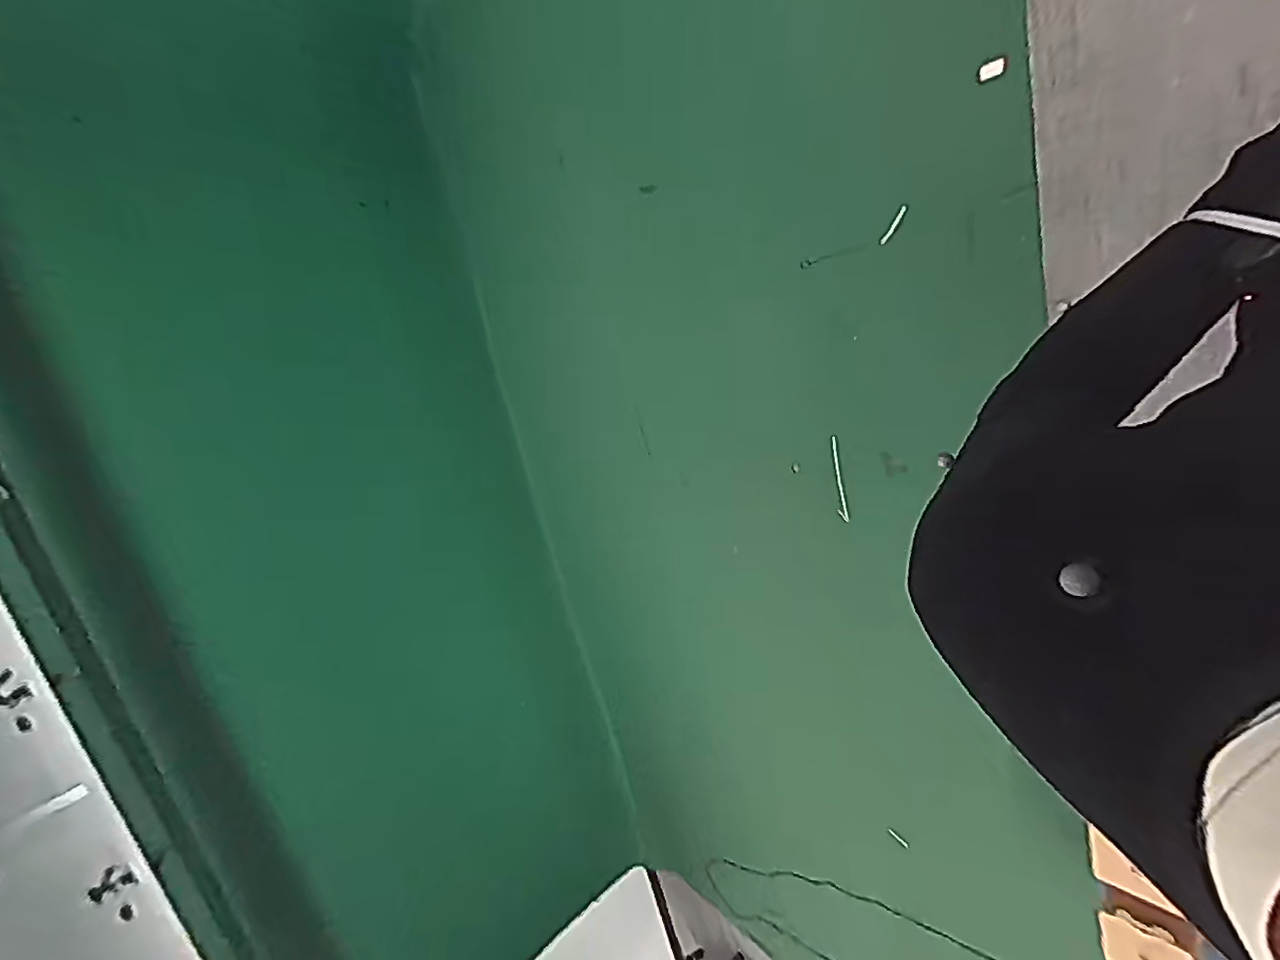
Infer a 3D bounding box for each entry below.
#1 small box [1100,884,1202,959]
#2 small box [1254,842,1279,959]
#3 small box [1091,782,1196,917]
[{"bbox_3d":[1.283,1.143,1.356,0.168,0.176,0.179,1,109,51],"label":"small box"},{"bbox_3d":[1.381,0.893,1.097,0.168,0.176,0.179,4,111,52],"label":"small box"},{"bbox_3d":[1.227,0.886,1.317,0.168,0.176,0.179,1,110,52],"label":"small box"}]
